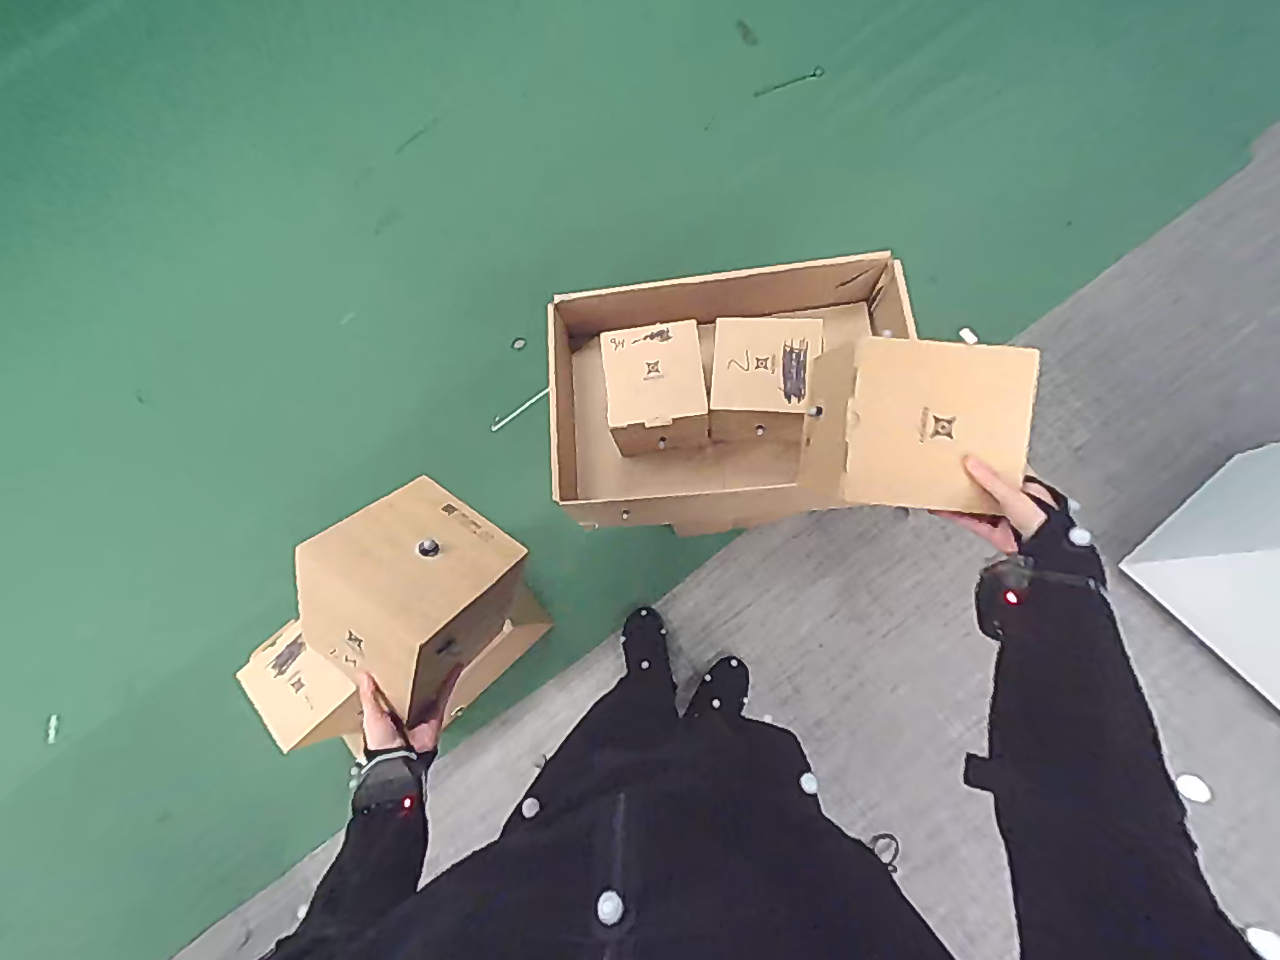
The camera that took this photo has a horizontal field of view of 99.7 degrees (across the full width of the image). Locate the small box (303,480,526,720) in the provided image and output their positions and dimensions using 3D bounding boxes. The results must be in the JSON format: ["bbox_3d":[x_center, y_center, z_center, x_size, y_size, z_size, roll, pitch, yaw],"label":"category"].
[{"bbox_3d":[-0.258,0.130,0.632,0.168,0.179,0.176,35,38,11],"label":"small box"}]

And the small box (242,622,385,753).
[{"bbox_3d":[-0.590,0.378,1.029,0.168,0.176,0.179,-42,75,-4],"label":"small box"}]

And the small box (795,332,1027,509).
[{"bbox_3d":[0.290,-0.063,0.615,0.179,0.176,0.168,5,93,3],"label":"small box"}]
